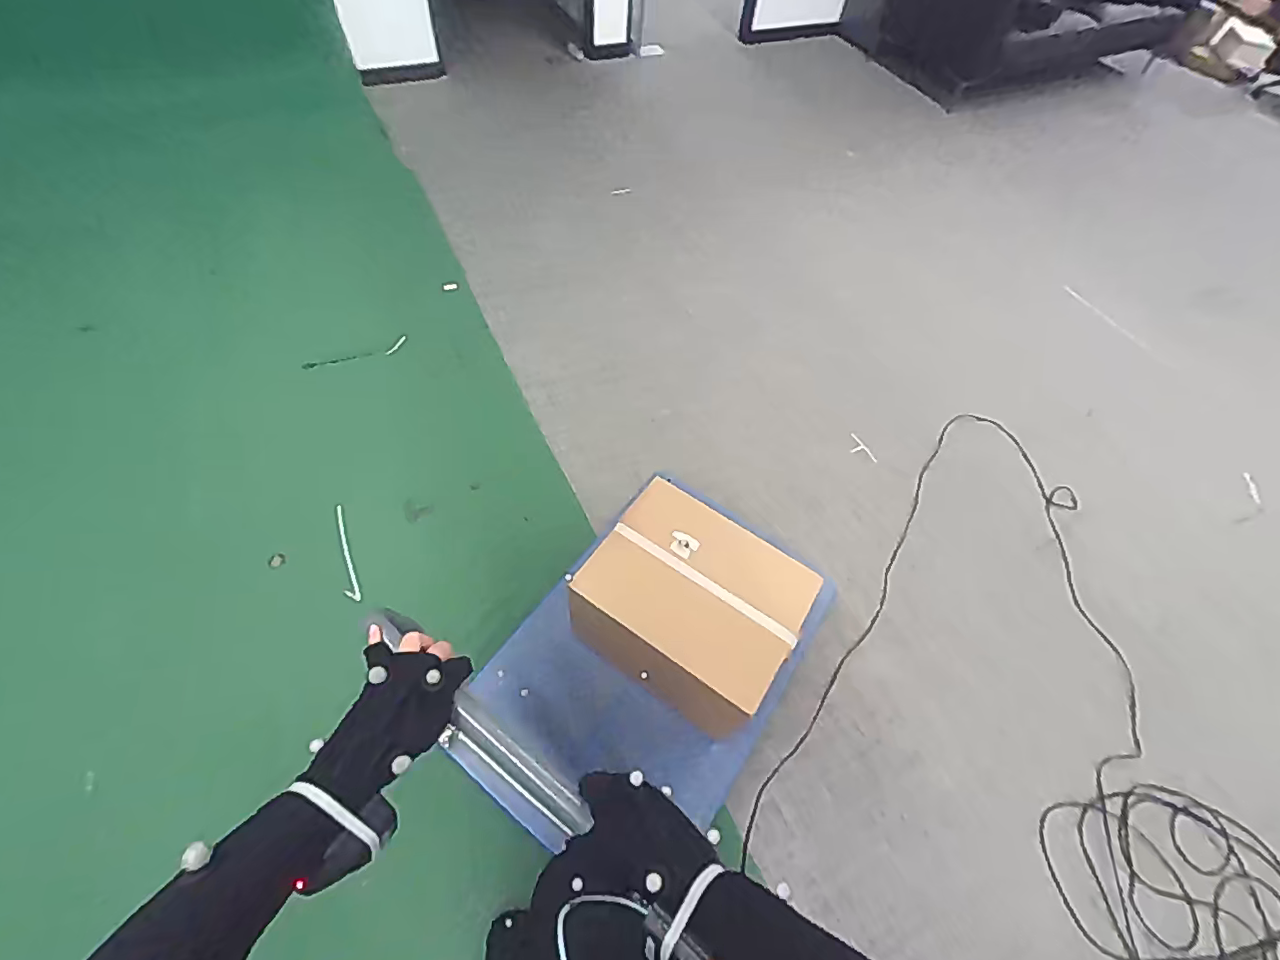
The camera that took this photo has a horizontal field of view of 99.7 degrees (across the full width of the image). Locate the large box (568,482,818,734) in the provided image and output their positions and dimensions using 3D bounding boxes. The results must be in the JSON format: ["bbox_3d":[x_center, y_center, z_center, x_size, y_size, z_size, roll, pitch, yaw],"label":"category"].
[{"bbox_3d":[0.102,0.282,1.177,0.408,0.320,0.320,31,59,15],"label":"large box"}]
